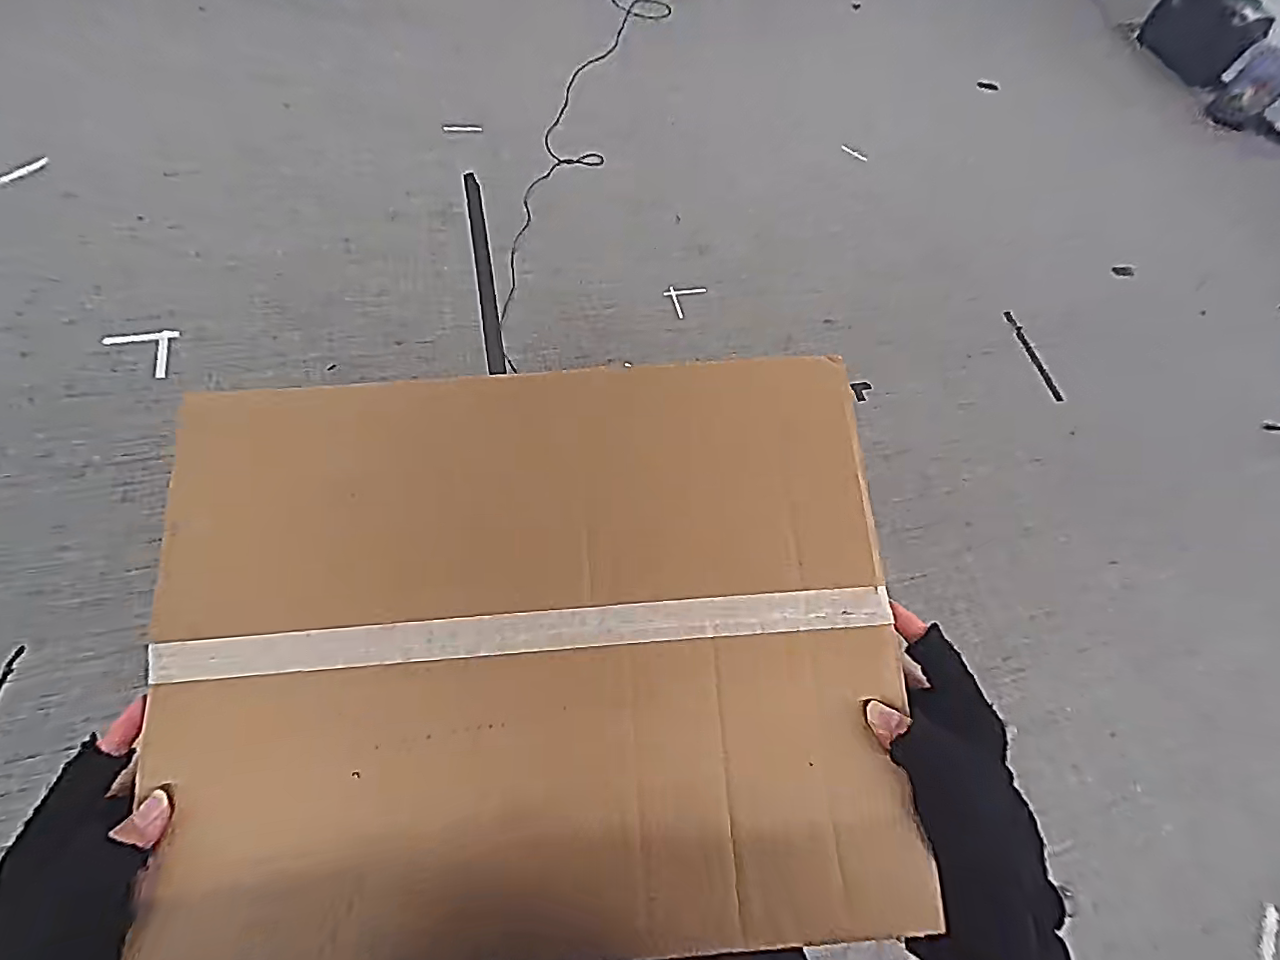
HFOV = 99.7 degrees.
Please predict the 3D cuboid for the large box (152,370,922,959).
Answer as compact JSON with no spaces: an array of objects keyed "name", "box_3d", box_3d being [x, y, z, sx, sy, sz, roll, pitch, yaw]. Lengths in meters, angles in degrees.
[{"name":"large box","box_3d":[-0.063,0.127,0.456,0.408,0.320,0.320,-4,77,-1]}]
